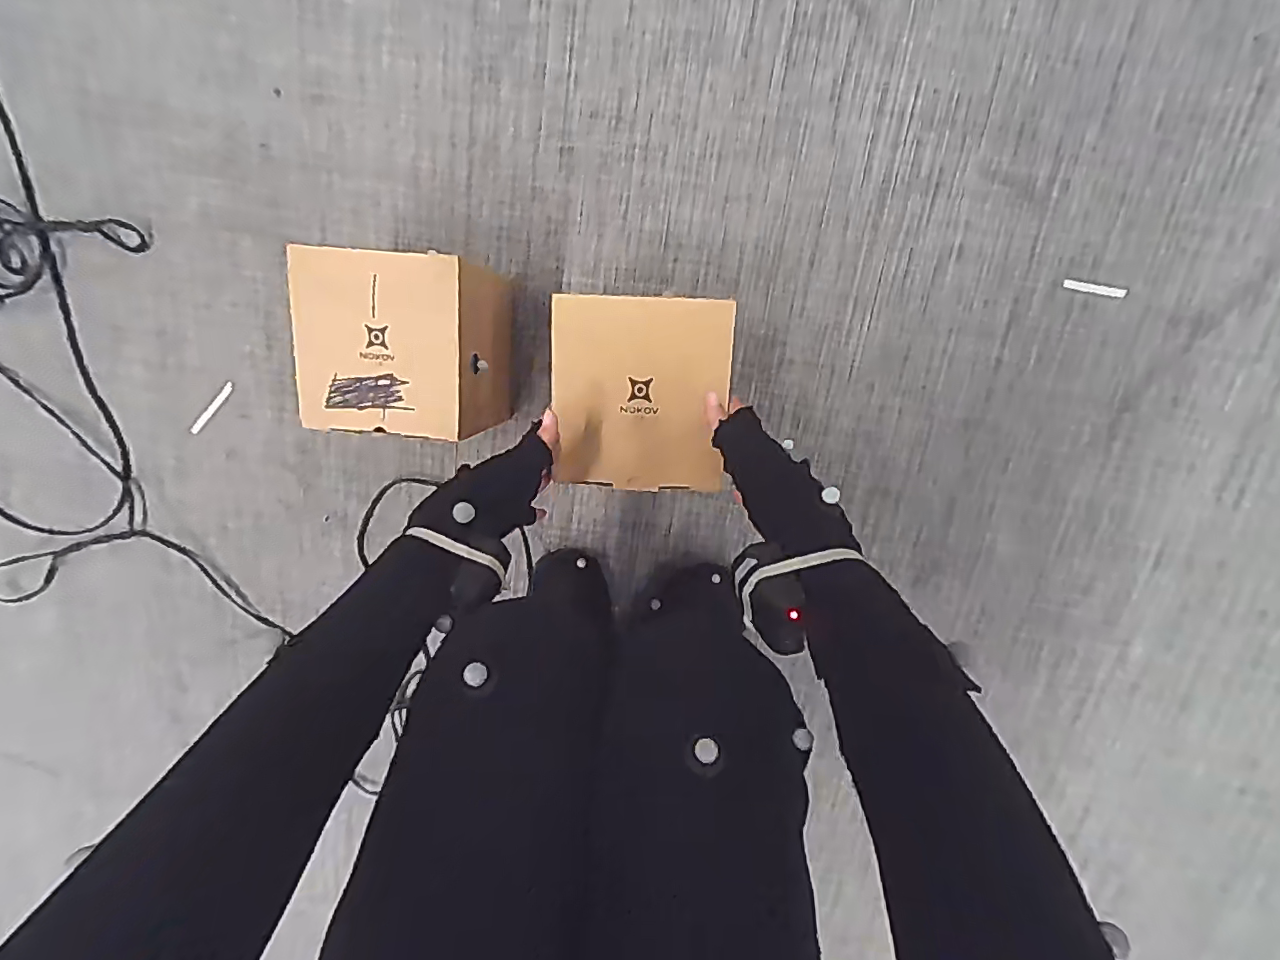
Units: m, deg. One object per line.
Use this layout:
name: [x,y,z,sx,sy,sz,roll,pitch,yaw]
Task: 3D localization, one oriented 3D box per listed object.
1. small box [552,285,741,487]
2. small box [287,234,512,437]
small box: [0.006,-0.100,0.566,0.168,0.176,0.179,3,104,3]
small box: [-0.244,-0.155,0.591,0.168,0.176,0.179,6,105,2]
